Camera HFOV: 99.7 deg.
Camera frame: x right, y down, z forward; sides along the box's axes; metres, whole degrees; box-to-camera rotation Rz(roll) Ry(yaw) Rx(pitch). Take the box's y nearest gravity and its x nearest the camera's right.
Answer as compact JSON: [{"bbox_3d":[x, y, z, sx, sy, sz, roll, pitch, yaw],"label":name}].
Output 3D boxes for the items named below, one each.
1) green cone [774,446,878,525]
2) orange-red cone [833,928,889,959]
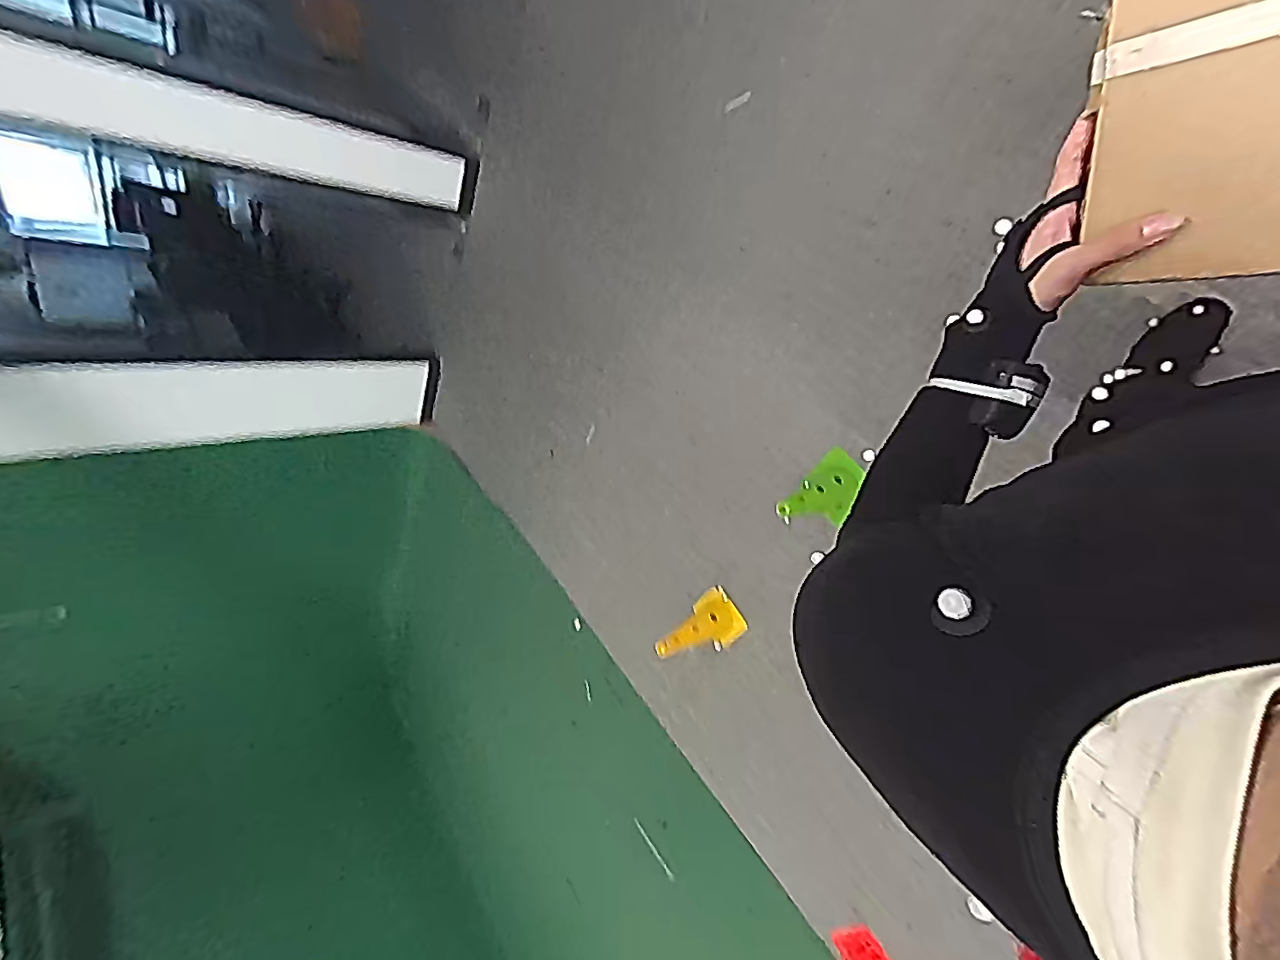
[{"bbox_3d":[0.516,0.048,1.622,0.200,0.368,0.202,52,132,24],"label":"green cone"},{"bbox_3d":[0.696,1.750,1.820,0.199,0.360,0.198,52,131,22],"label":"orange-red cone"}]
